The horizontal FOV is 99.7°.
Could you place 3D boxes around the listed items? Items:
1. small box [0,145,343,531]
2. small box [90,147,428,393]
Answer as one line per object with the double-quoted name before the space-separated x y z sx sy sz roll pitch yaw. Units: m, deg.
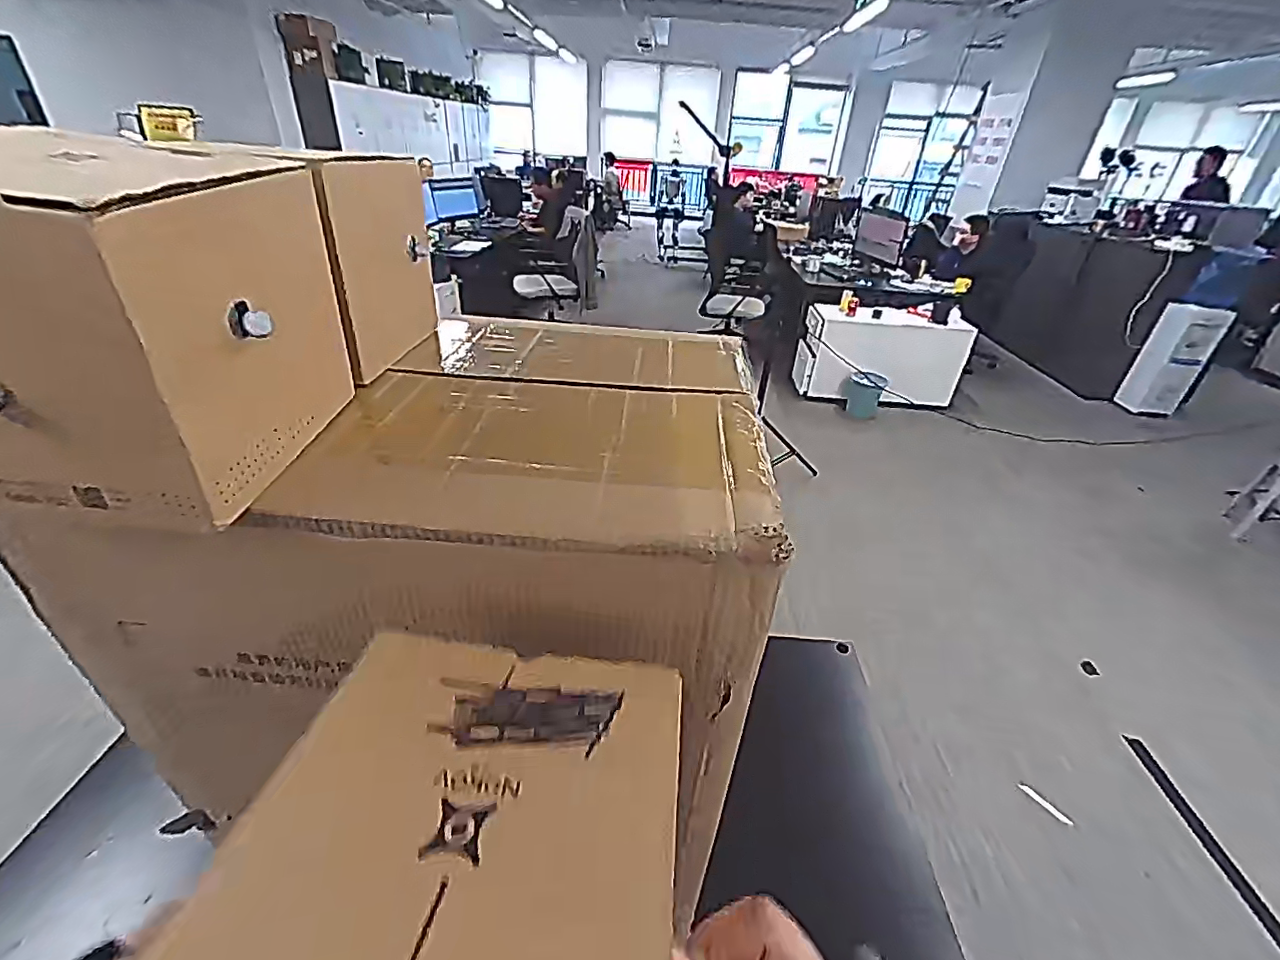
"small box" -0.305 -0.088 0.321 0.168 0.176 0.179 5 35 -4
"small box" -0.304 -0.191 0.484 0.168 0.176 0.179 3 31 0
